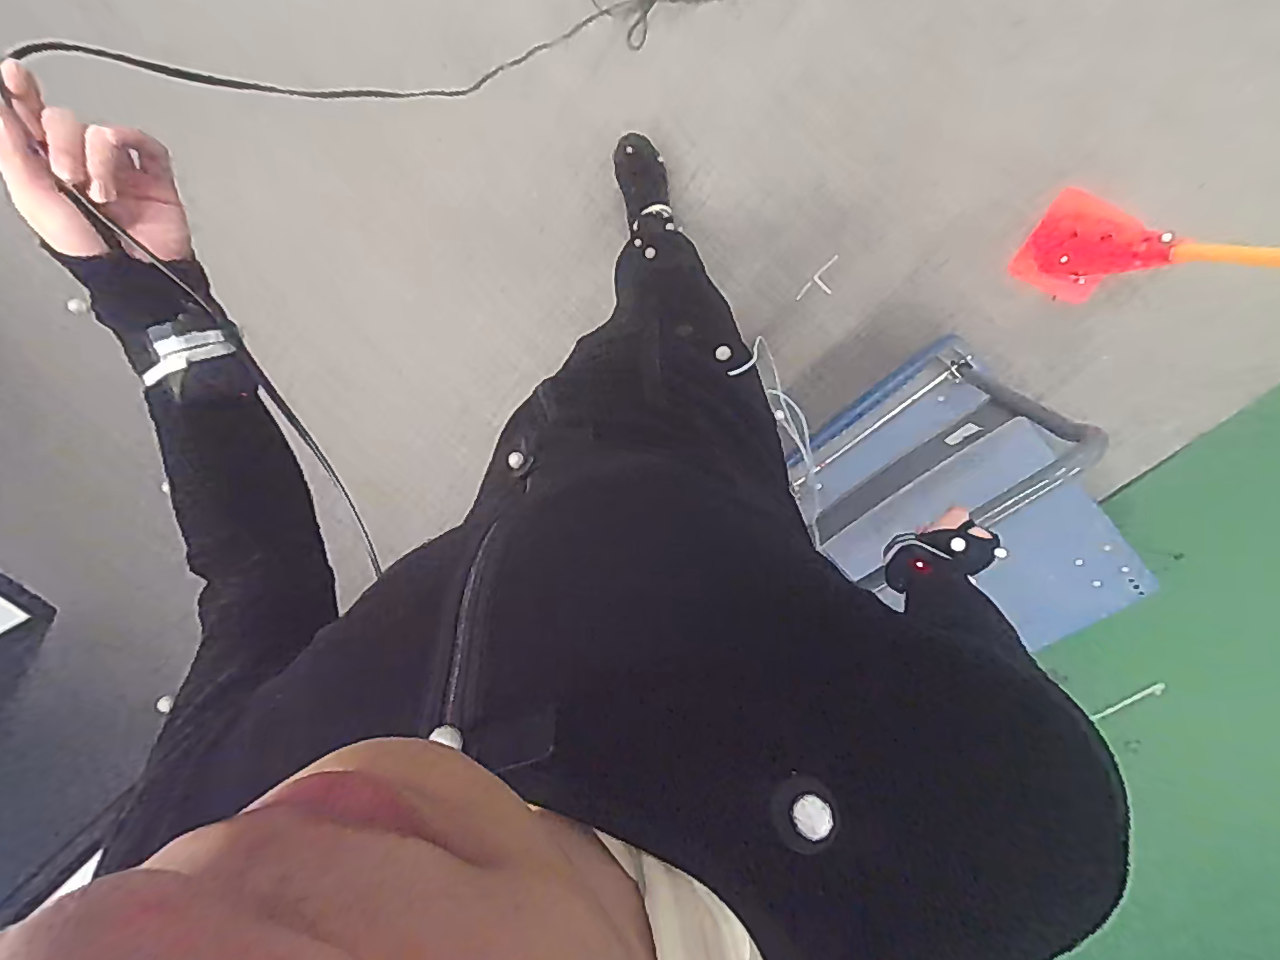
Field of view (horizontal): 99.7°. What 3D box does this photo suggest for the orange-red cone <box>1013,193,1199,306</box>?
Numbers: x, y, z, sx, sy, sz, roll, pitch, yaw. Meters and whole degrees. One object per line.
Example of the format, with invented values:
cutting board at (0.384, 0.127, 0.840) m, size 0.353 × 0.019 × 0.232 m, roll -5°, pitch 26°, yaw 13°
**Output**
orange-red cone at (0.976, -0.462, 1.095) m, size 0.198 × 0.360 × 0.199 m, roll 26°, pitch 115°, yaw -2°
